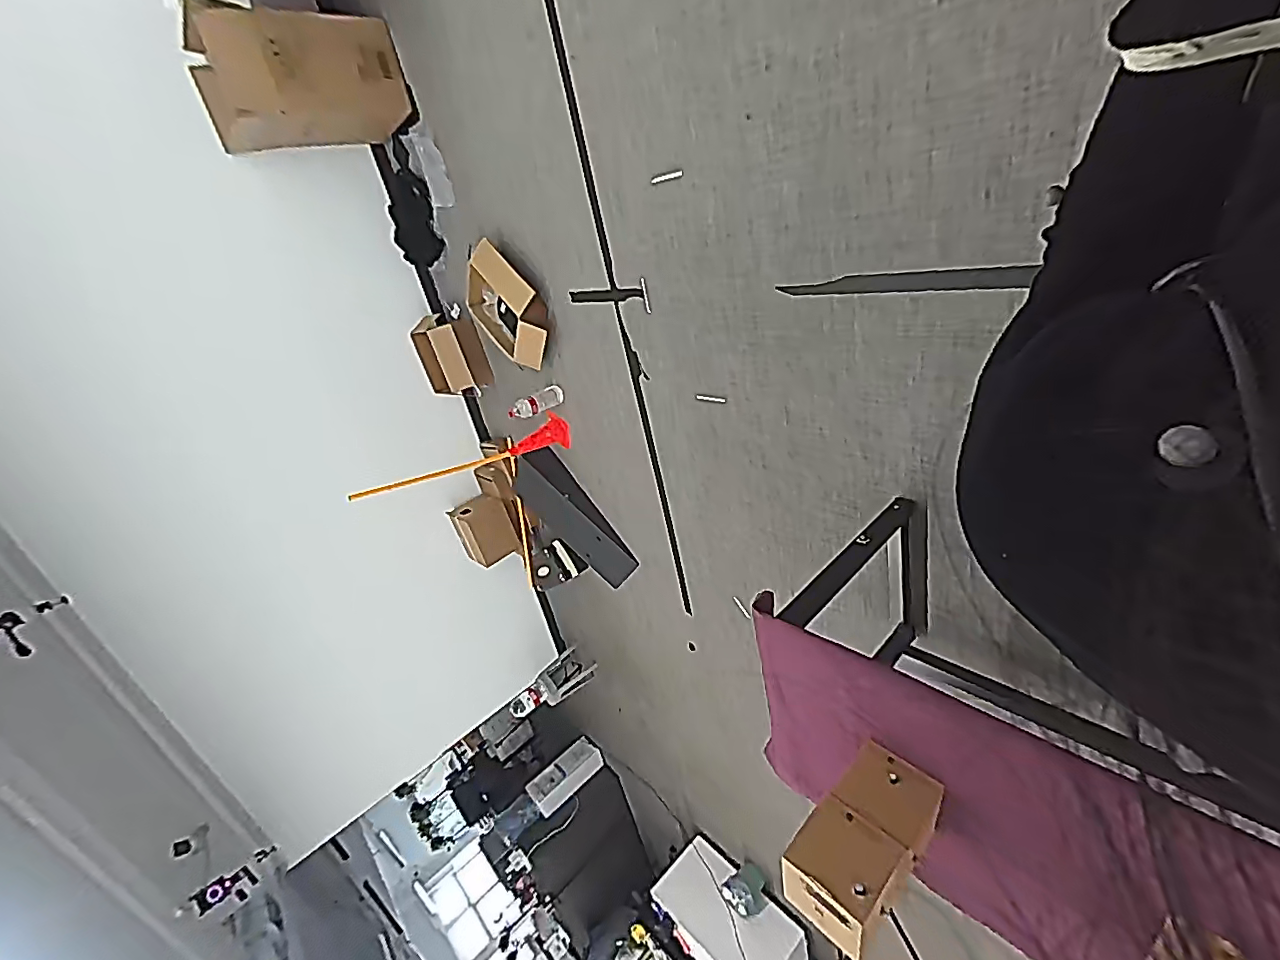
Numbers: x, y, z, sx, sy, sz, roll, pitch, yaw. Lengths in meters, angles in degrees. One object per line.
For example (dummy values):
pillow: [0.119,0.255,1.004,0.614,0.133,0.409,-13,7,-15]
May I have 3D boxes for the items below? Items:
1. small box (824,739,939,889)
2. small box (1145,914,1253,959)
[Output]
small box: [0.513,0.705,1.156,0.168,0.176,0.179,23,133,42]
small box: [0.843,0.797,0.786,0.168,0.176,0.179,19,131,46]
